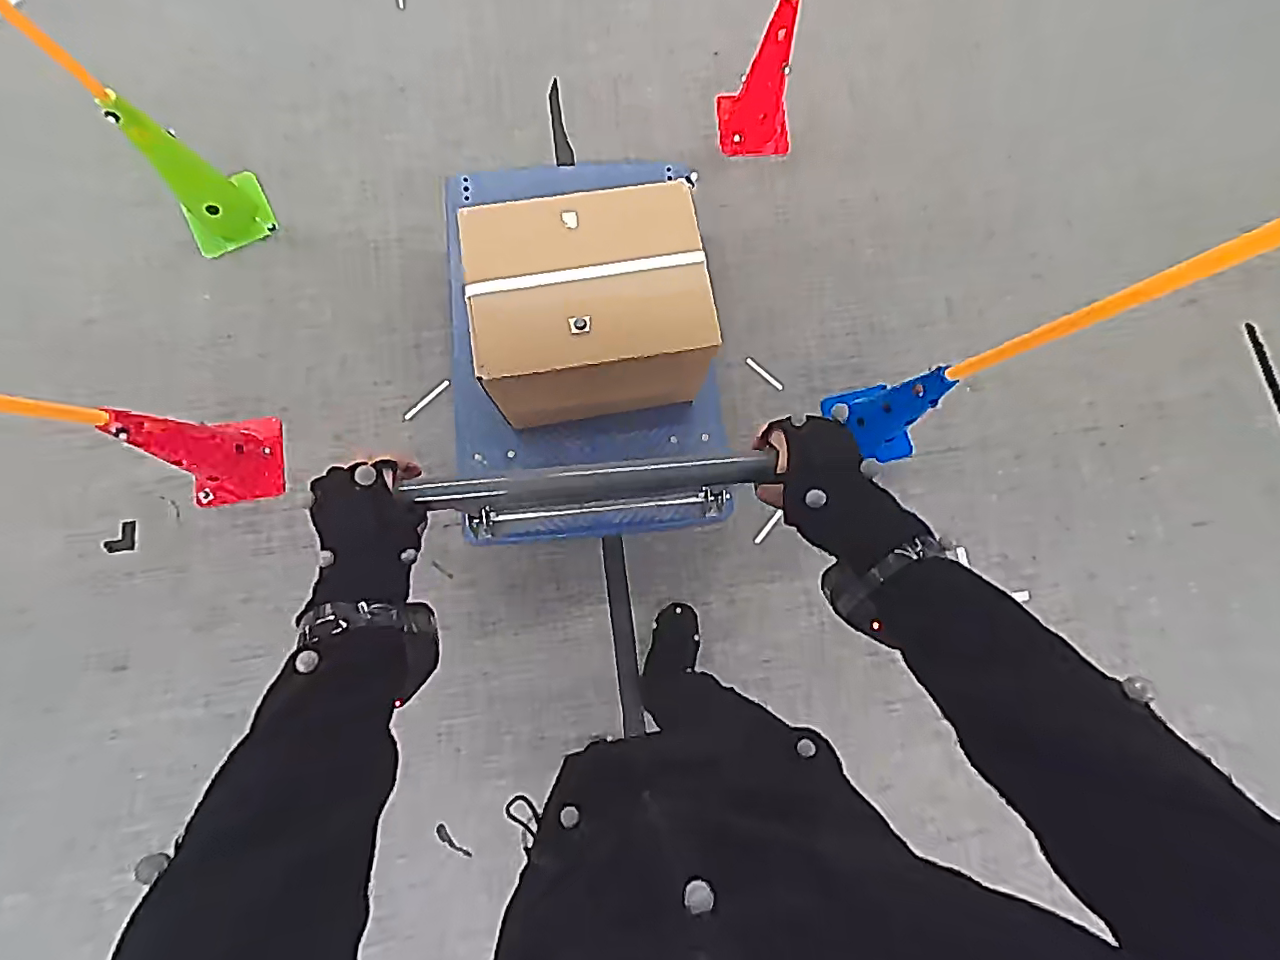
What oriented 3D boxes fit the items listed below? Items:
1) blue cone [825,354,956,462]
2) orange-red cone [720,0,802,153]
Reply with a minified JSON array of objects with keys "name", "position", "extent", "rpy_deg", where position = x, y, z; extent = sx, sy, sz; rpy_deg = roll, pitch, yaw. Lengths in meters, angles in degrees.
[{"name":"blue cone","position":[0.590,-0.180,1.222],"extent":[0.193,0.380,0.192],"rpy_deg":[-12,79,-5]},{"name":"orange-red cone","position":[0.335,-1.044,1.359],"extent":[0.199,0.360,0.198],"rpy_deg":[-1,80,-4]}]
